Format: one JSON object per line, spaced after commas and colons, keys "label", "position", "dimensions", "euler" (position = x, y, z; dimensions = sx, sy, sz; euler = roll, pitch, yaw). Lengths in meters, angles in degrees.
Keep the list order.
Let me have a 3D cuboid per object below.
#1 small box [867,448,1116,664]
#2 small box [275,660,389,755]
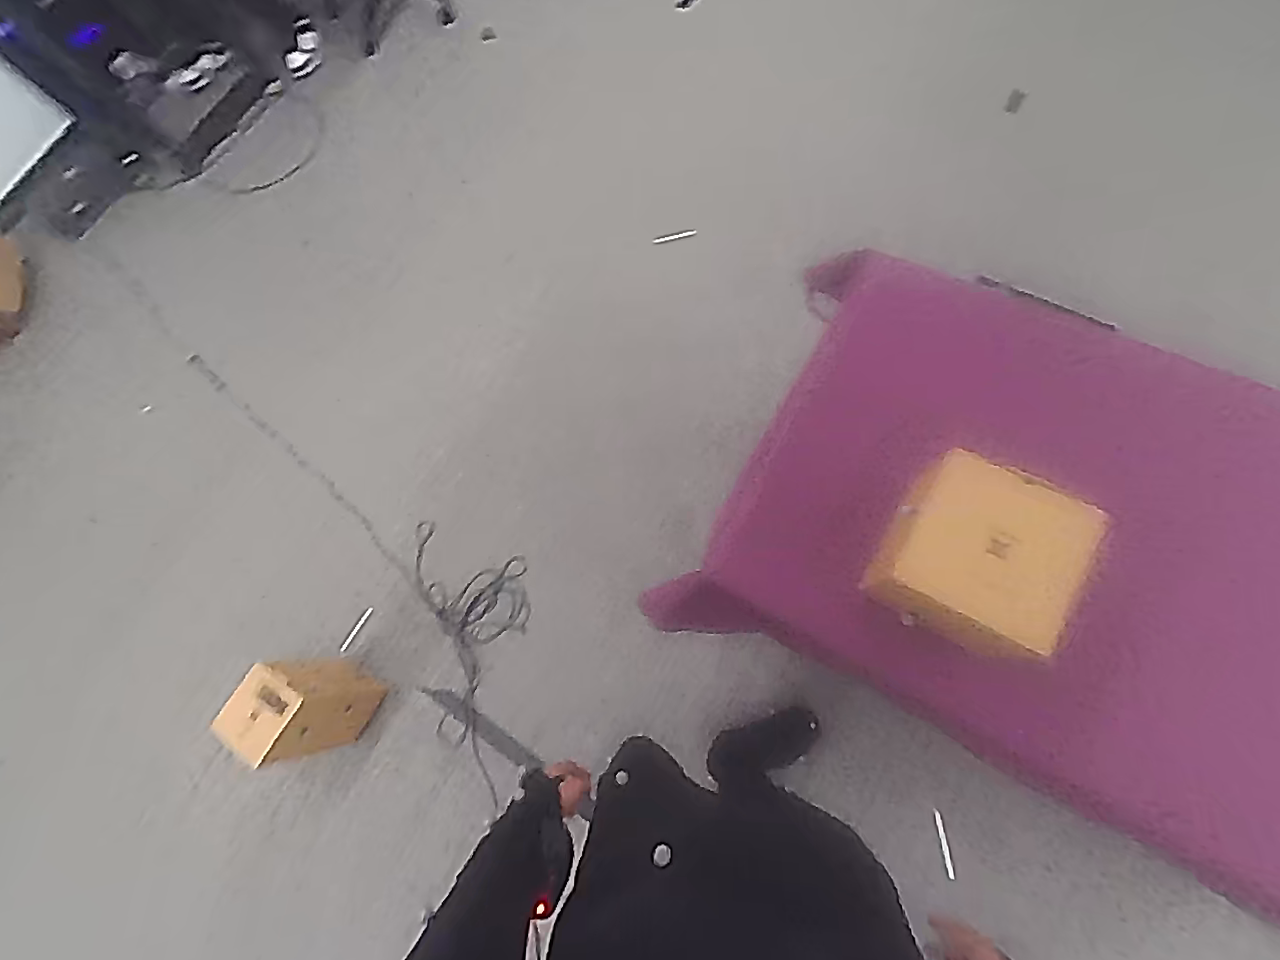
{"label": "small box", "position": [0.396, 0.095, 0.645], "dimensions": [0.168, 0.176, 0.179], "euler": [29, 81, 17]}
{"label": "small box", "position": [-0.828, 0.610, 1.474], "dimensions": [0.168, 0.176, 0.179], "euler": [27, 80, 16]}
